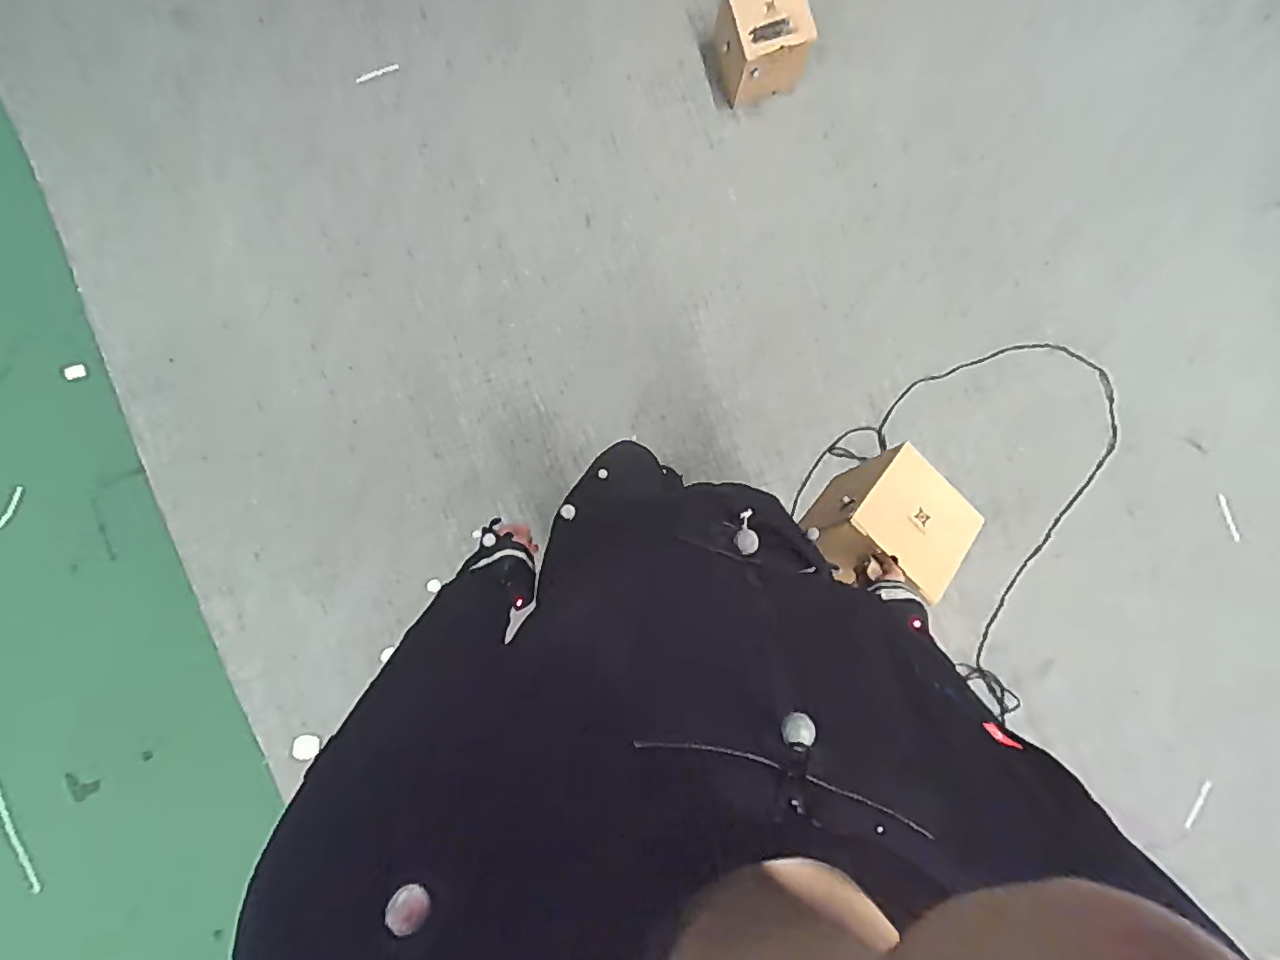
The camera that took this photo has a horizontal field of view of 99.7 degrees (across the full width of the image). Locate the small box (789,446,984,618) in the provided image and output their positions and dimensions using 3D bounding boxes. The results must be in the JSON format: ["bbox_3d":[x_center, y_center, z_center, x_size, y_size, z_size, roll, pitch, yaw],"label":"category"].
[{"bbox_3d":[0.357,0.084,0.806,0.168,0.176,0.179,46,63,0],"label":"small box"}]
